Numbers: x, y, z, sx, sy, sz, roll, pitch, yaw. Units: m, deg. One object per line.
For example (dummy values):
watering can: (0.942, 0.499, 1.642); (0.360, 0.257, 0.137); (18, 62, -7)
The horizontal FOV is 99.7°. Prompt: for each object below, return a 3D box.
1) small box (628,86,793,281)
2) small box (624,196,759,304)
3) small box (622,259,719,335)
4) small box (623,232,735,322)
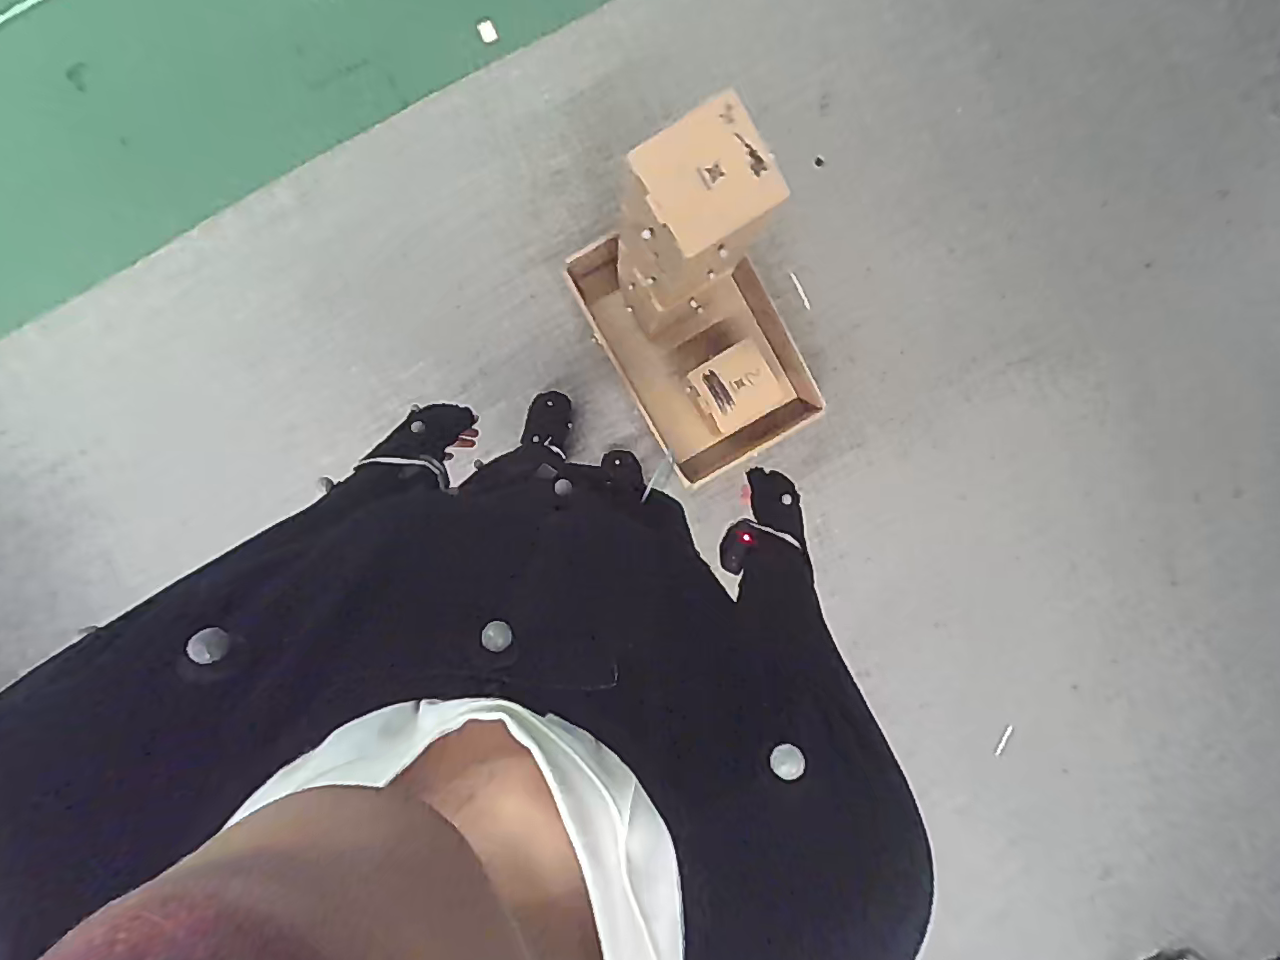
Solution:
small box: (0.096, -0.428, 0.817); (0.179, 0.176, 0.168); (-31, 98, 2)
small box: (0.085, -0.444, 0.979); (0.179, 0.176, 0.168); (-31, 97, 1)
small box: (0.065, -0.471, 1.304); (0.179, 0.176, 0.168); (-28, 96, 1)
small box: (0.073, -0.456, 1.142); (0.179, 0.176, 0.168); (-29, 96, 1)
